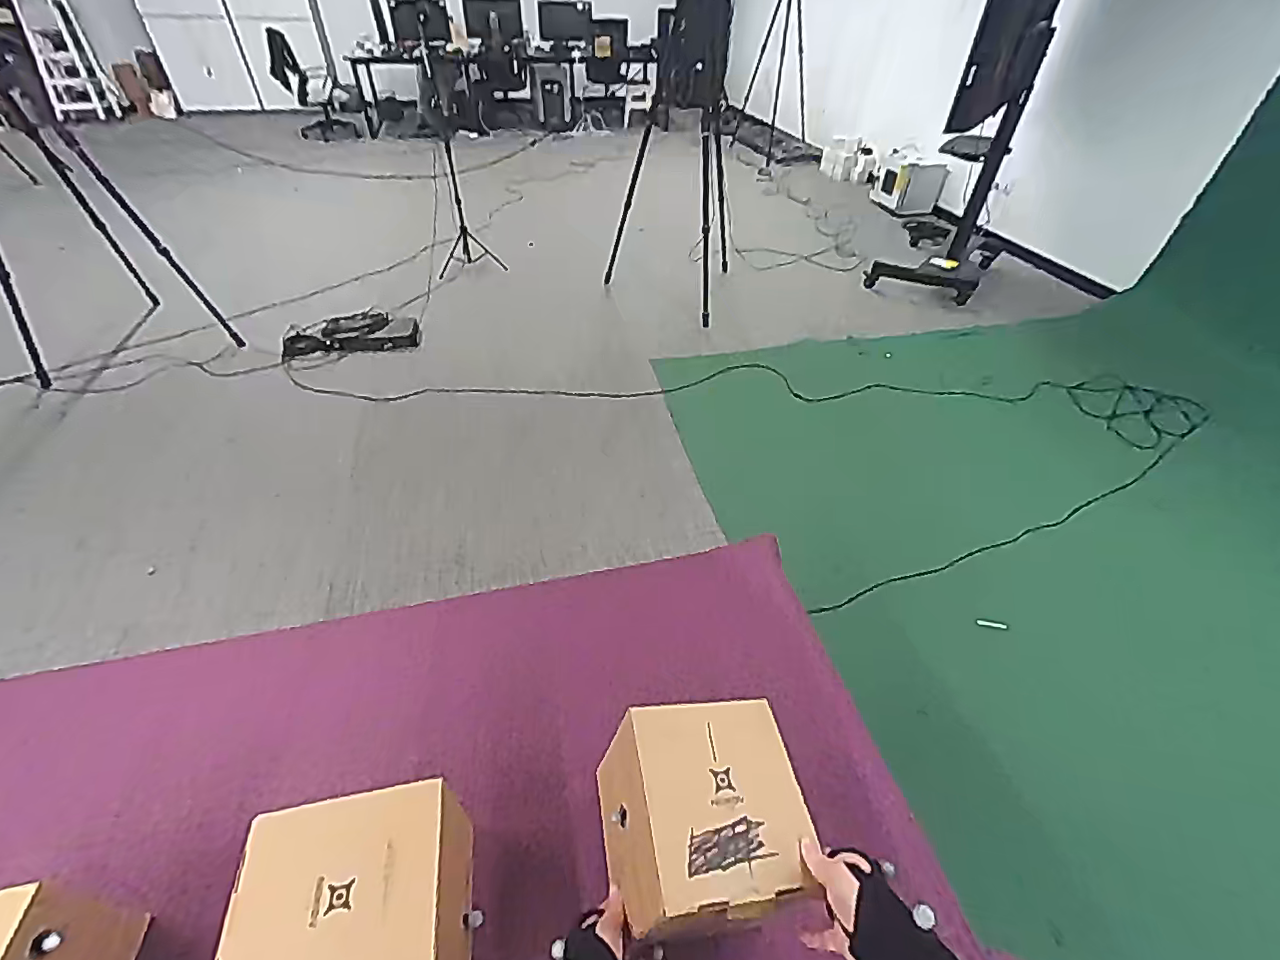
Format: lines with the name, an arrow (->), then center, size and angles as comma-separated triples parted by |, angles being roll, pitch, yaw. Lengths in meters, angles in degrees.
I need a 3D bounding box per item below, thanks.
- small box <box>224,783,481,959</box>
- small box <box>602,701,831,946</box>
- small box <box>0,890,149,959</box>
small box -> -0.262, 0.428, 0.526 | 0.179, 0.176, 0.168 | -7, 44, -9
small box -> 0.062, 0.361, 0.572 | 0.168, 0.176, 0.179 | 4, 40, -17
small box -> -0.585, 0.487, 0.461 | 0.168, 0.176, 0.179 | -7, 42, -8
